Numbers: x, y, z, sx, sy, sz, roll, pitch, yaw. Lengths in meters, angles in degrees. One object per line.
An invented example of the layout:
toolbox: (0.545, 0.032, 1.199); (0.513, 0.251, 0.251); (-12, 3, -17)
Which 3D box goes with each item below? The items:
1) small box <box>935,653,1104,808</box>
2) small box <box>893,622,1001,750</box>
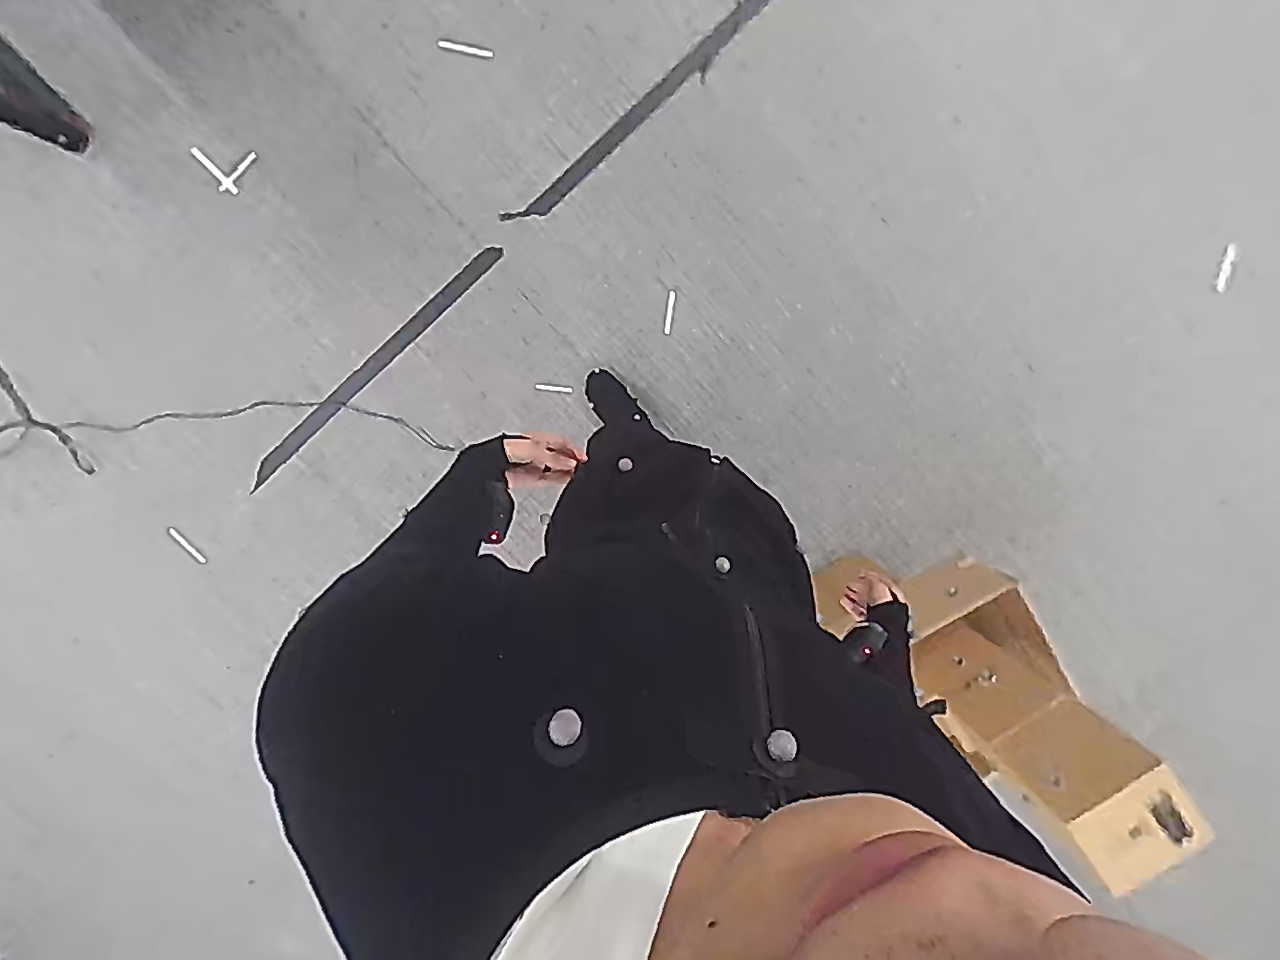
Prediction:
small box: (0.724, 0.476, 1.052); (0.168, 0.176, 0.179); (-38, 100, 5)
small box: (0.711, 0.451, 1.212); (0.179, 0.176, 0.168); (-35, 99, 5)
